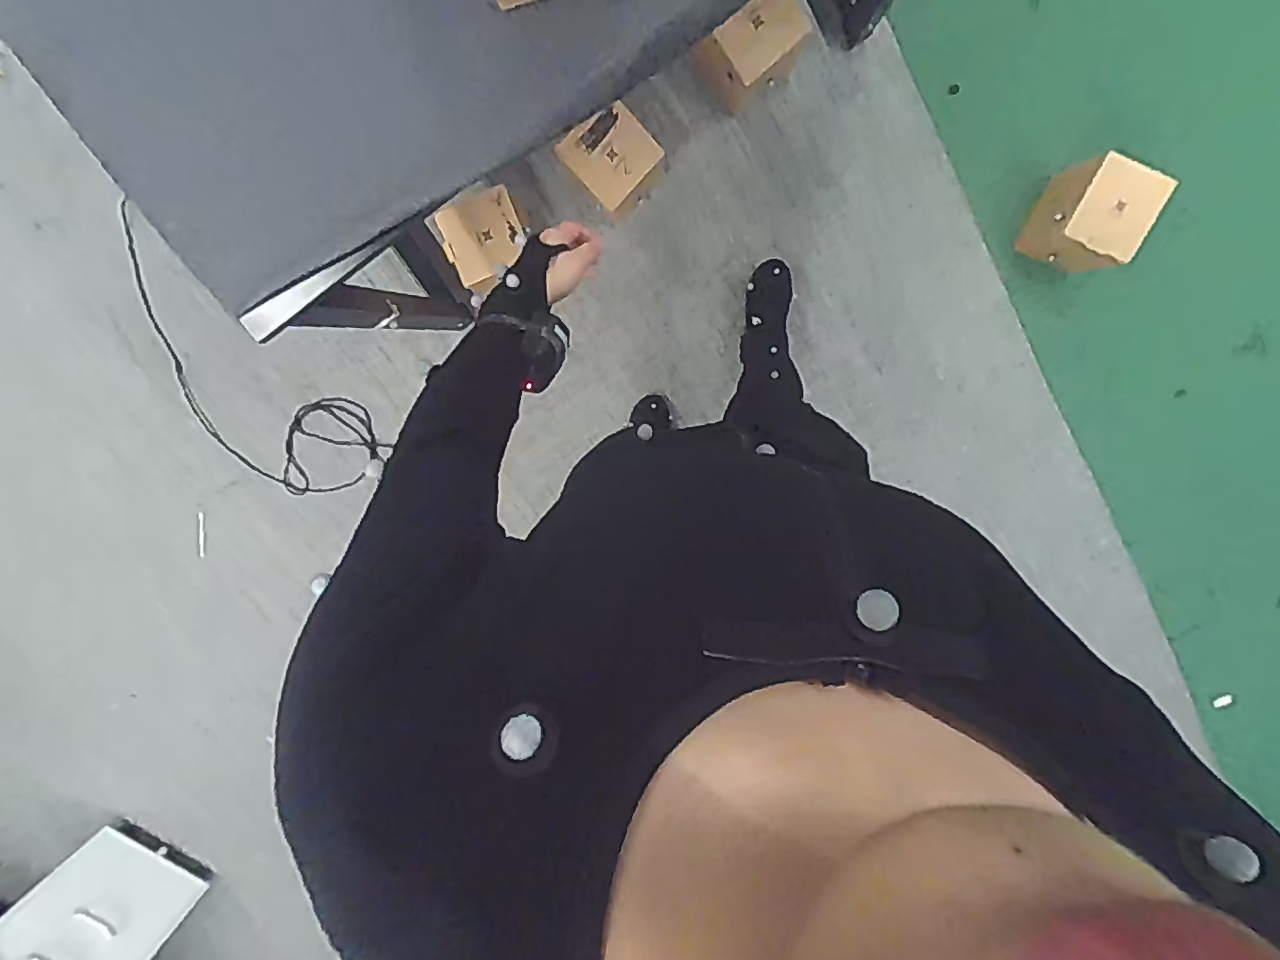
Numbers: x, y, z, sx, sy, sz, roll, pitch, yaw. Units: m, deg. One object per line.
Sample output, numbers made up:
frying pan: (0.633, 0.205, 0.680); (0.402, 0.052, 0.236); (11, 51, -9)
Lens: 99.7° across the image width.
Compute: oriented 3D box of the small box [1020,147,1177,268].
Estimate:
small box: (1.005, -0.595, 1.207); (0.168, 0.176, 0.179); (21, 105, -4)

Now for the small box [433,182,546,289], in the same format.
small box: (-0.343, -0.560, 1.267); (0.179, 0.176, 0.168); (-20, 104, 8)

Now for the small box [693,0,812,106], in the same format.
small box: (0.229, -0.935, 1.141); (0.168, 0.176, 0.179); (-37, 101, 10)
